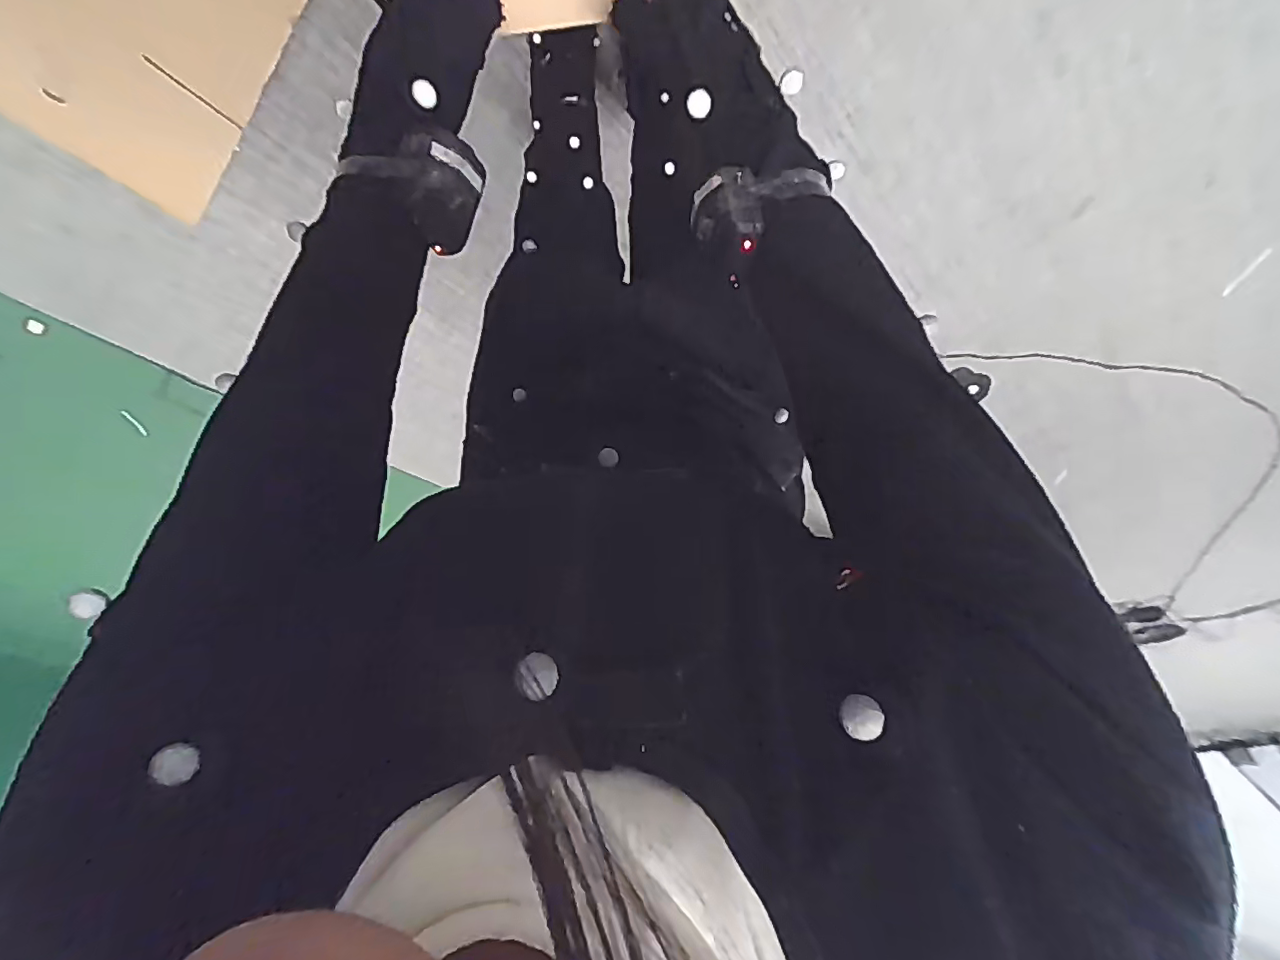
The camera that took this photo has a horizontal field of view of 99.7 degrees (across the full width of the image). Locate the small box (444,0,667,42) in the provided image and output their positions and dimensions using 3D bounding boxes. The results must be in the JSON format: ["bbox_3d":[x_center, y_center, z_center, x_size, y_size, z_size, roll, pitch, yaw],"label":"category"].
[{"bbox_3d":[-0.074,-0.470,0.411,0.179,0.176,0.168,-7,142,6],"label":"small box"}]
